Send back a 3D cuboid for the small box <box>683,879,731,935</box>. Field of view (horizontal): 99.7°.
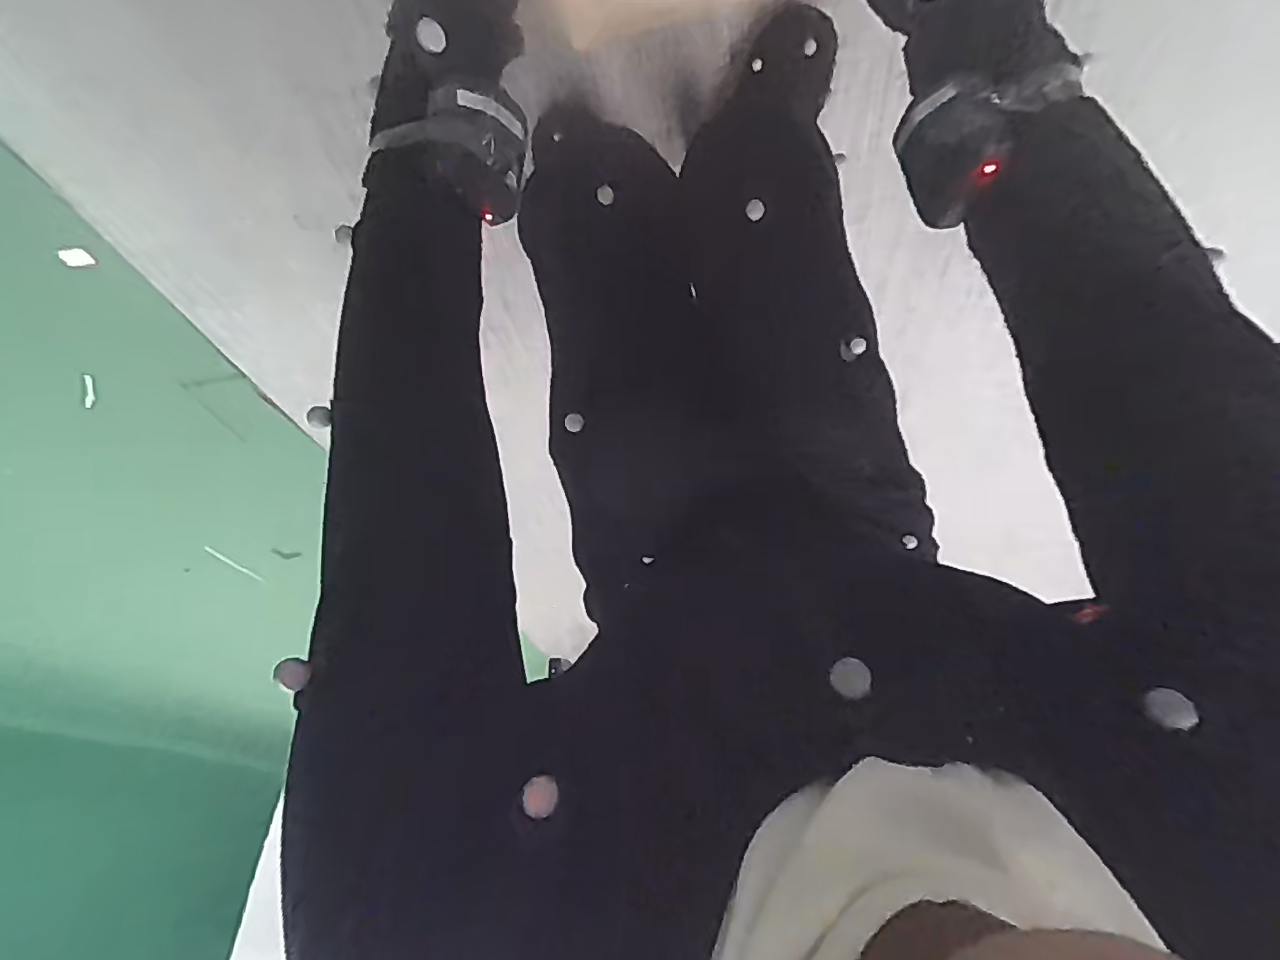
[{"bbox_3d":[0.264,1.681,2.136,0.179,0.176,0.168,-5,146,6],"label":"small box"}]

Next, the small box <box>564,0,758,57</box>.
[{"bbox_3d":[0.009,-0.457,0.395,0.179,0.176,0.168,-12,143,8],"label":"small box"}]
